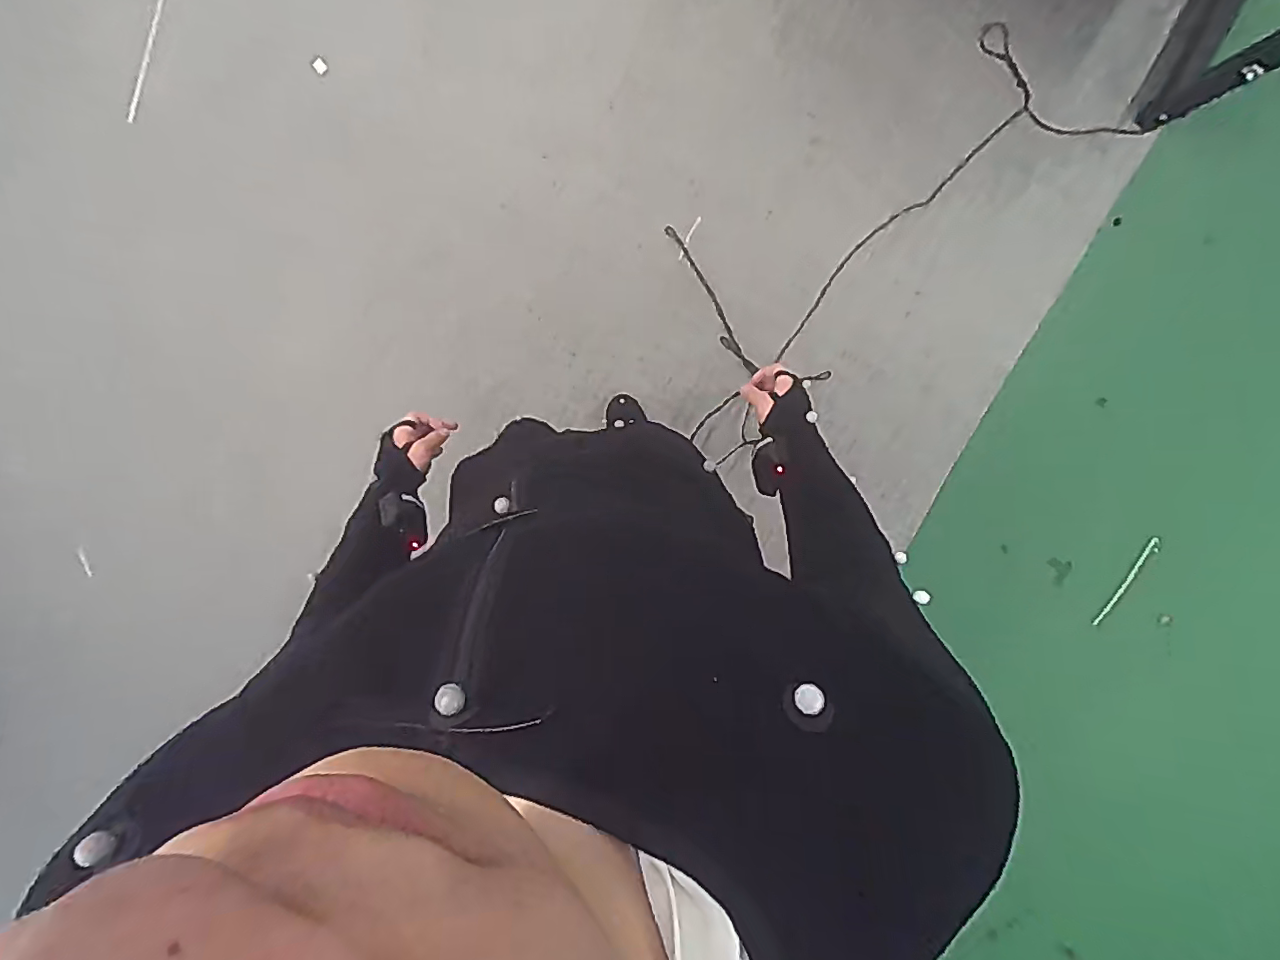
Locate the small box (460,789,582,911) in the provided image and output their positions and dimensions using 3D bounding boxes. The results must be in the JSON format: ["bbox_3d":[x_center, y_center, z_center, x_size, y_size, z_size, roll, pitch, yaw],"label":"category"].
[{"bbox_3d":[-0.233,0.794,1.116,0.168,0.176,0.179,32,100,-5],"label":"small box"}]

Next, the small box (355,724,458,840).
[{"bbox_3d":[-0.496,0.639,1.098,0.168,0.176,0.179,32,100,-3],"label":"small box"}]

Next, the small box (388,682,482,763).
[{"bbox_3d":[-0.495,0.615,1.261,0.168,0.176,0.179,30,99,-3],"label":"small box"}]
